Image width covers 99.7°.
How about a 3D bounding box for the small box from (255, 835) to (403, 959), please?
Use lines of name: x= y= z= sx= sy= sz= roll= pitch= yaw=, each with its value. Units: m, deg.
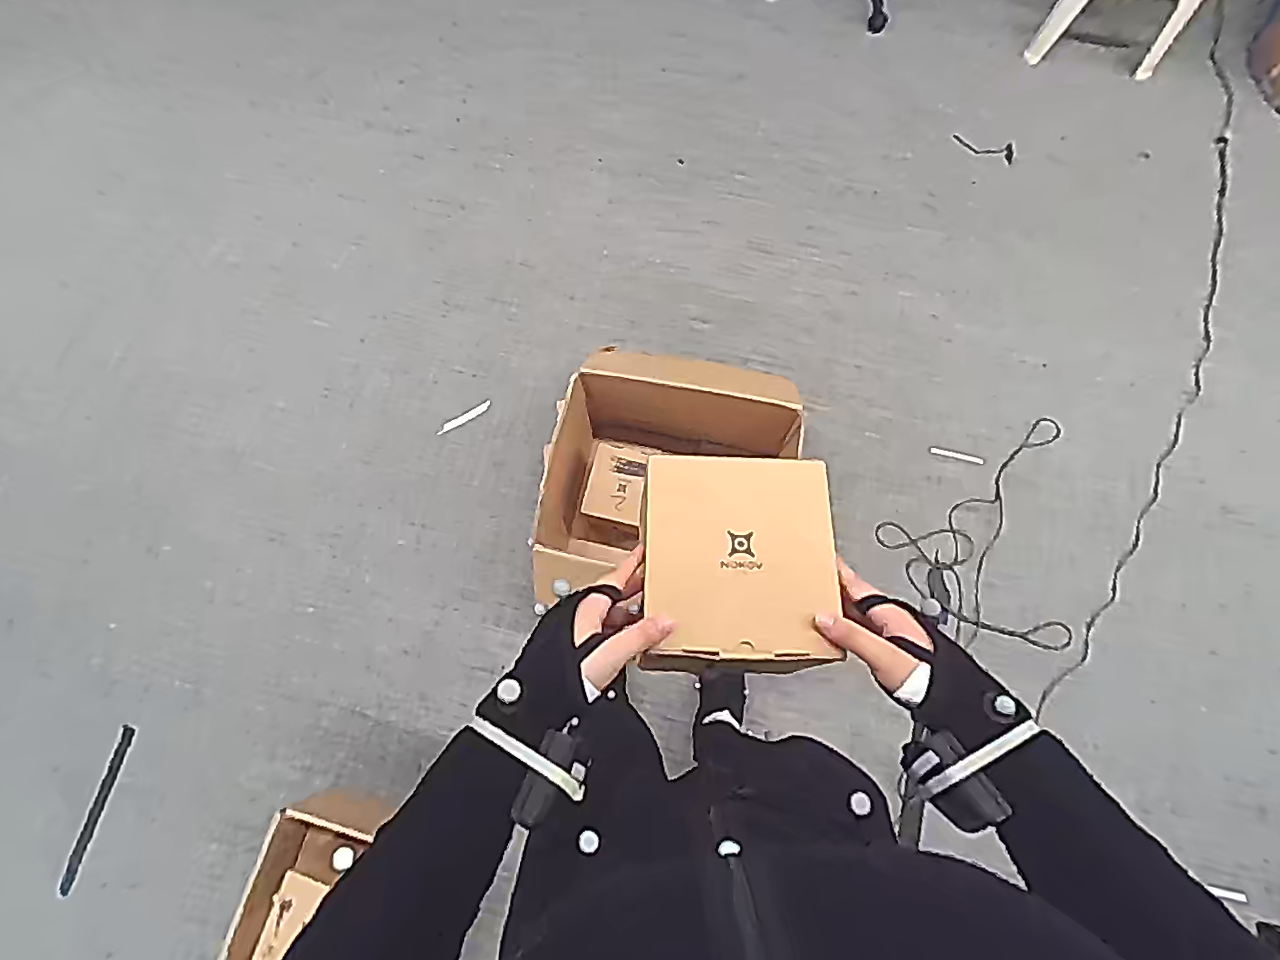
small box: x=-0.621 y=0.869 z=1.108 sx=0.179 sy=0.176 sz=0.168 roll=17 pitch=78 yaw=4
